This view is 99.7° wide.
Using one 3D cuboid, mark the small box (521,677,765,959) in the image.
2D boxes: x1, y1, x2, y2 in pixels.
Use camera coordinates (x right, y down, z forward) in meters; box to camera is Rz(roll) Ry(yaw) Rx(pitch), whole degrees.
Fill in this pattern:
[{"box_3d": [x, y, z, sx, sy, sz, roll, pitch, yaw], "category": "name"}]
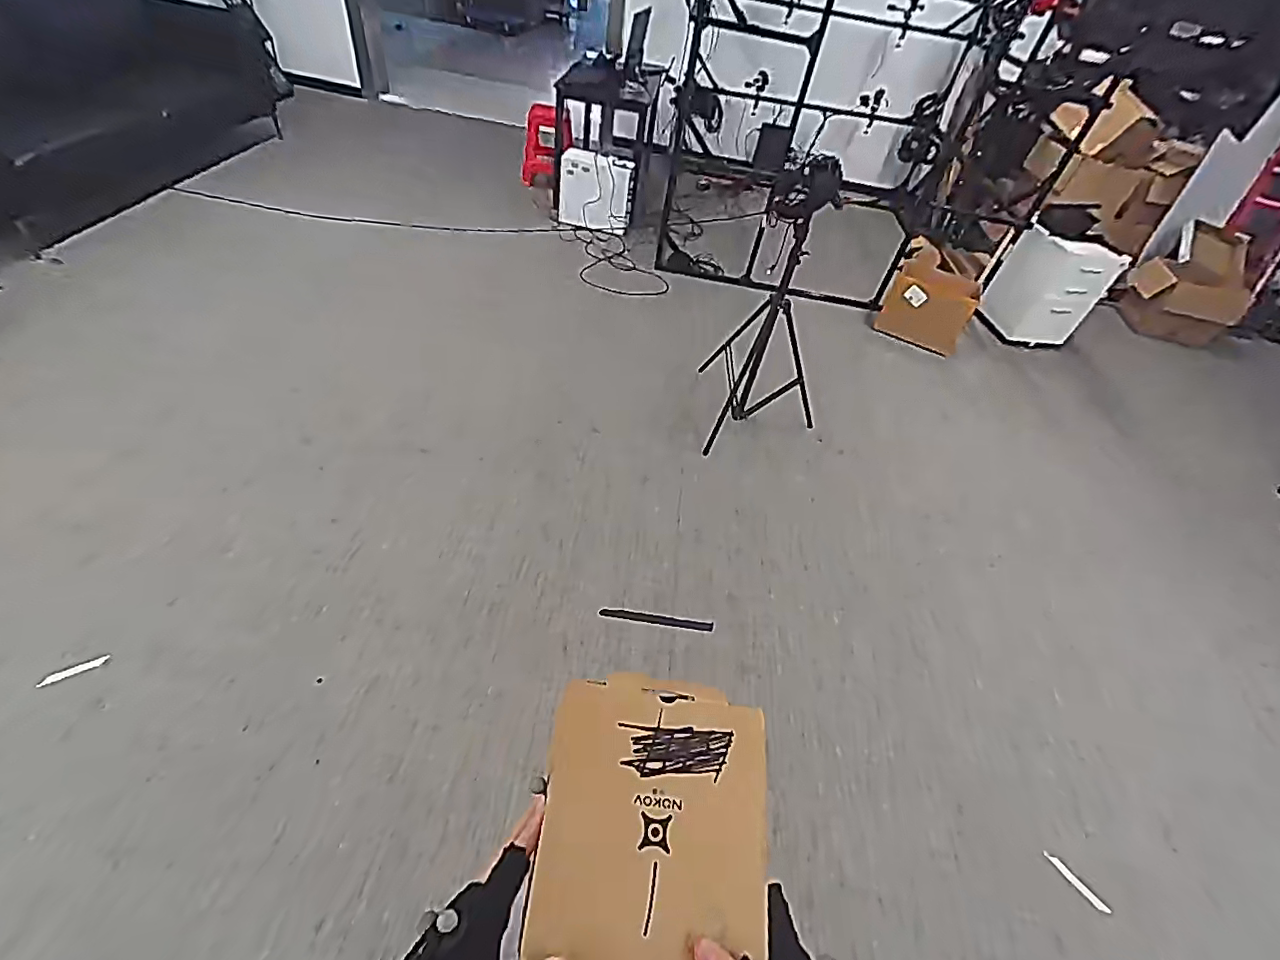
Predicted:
[{"box_3d": [-0.002, 0.286, 0.459, 0.168, 0.176, 0.179, 10, 57, -4], "category": "small box"}]
